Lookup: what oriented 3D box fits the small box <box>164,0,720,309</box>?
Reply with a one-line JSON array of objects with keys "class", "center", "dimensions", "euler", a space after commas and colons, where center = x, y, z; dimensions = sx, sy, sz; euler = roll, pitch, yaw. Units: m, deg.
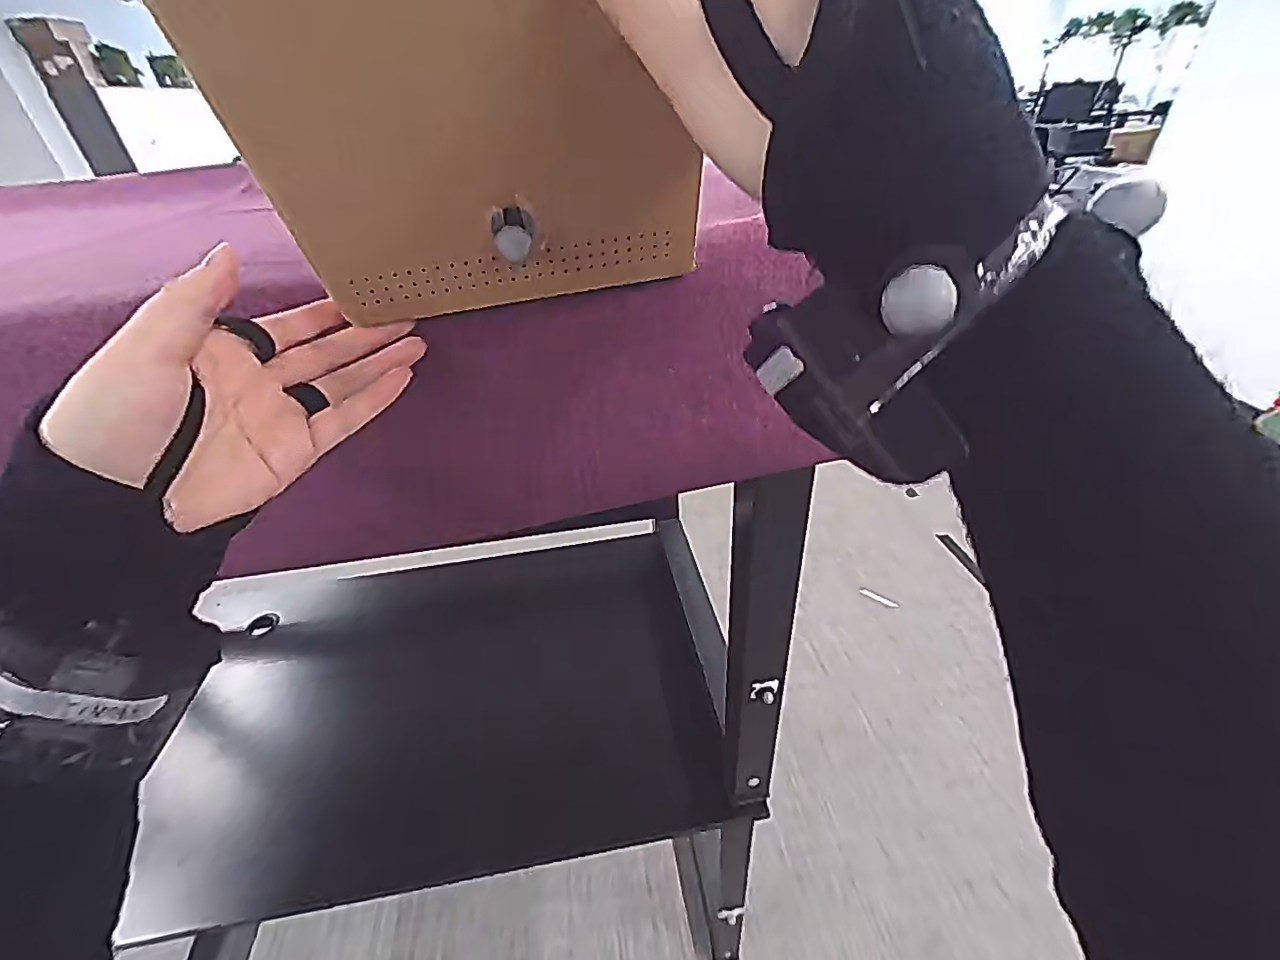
[{"class": "small box", "center": [-0.071, -0.202, 0.237], "dimensions": [0.179, 0.176, 0.168], "euler": [-12, 61, -7]}]
